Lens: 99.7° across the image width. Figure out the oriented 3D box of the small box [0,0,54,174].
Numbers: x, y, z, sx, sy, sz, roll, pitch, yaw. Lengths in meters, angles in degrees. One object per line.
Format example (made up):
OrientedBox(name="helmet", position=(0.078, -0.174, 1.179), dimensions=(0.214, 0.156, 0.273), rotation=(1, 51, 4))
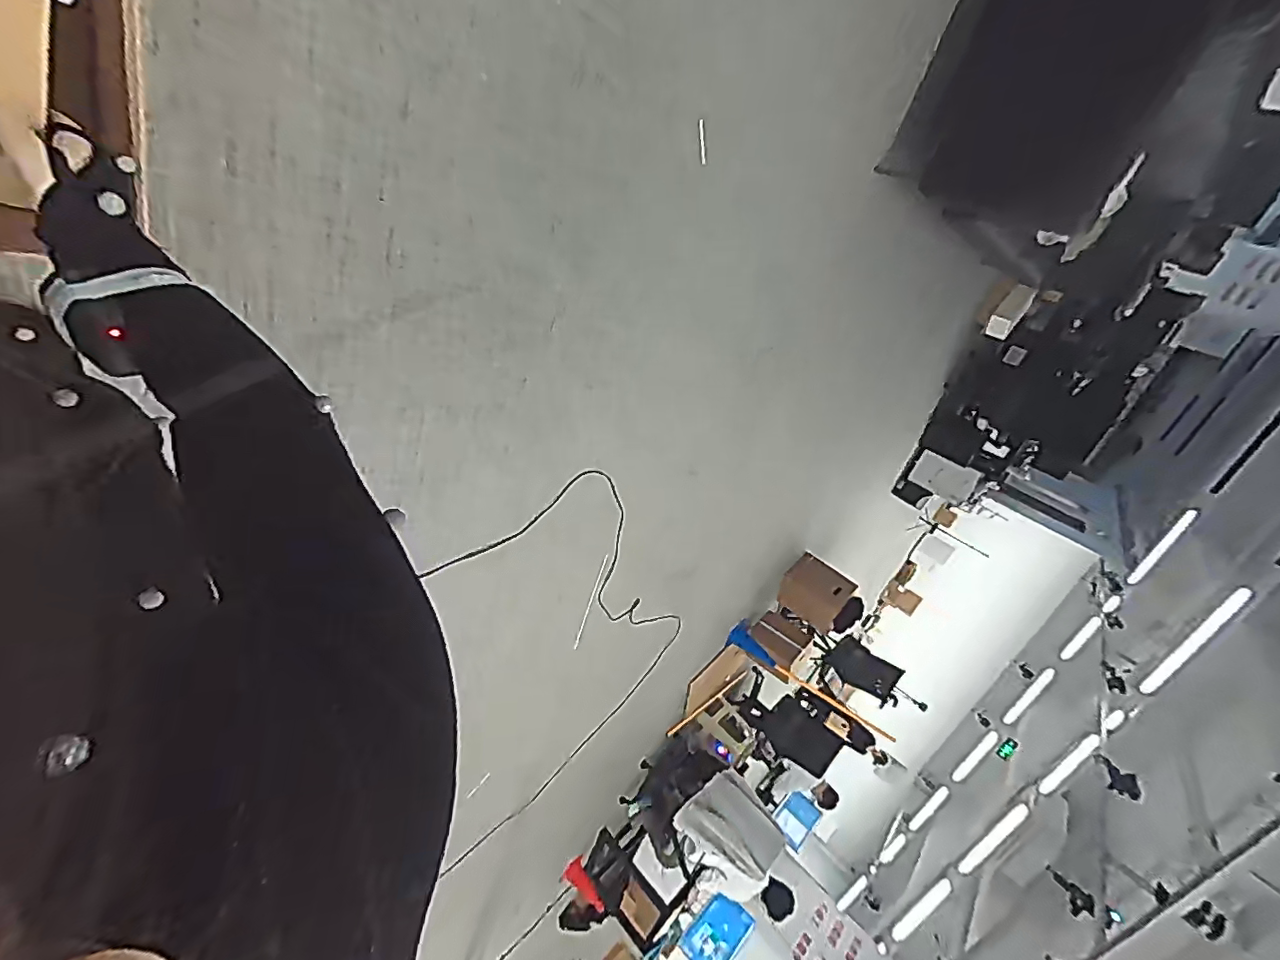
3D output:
OrientedBox(name="small box", position=(-0.563, -0.348, 0.396), dimensions=(0.168, 0.176, 0.179), rotation=(-2, 109, -54))
